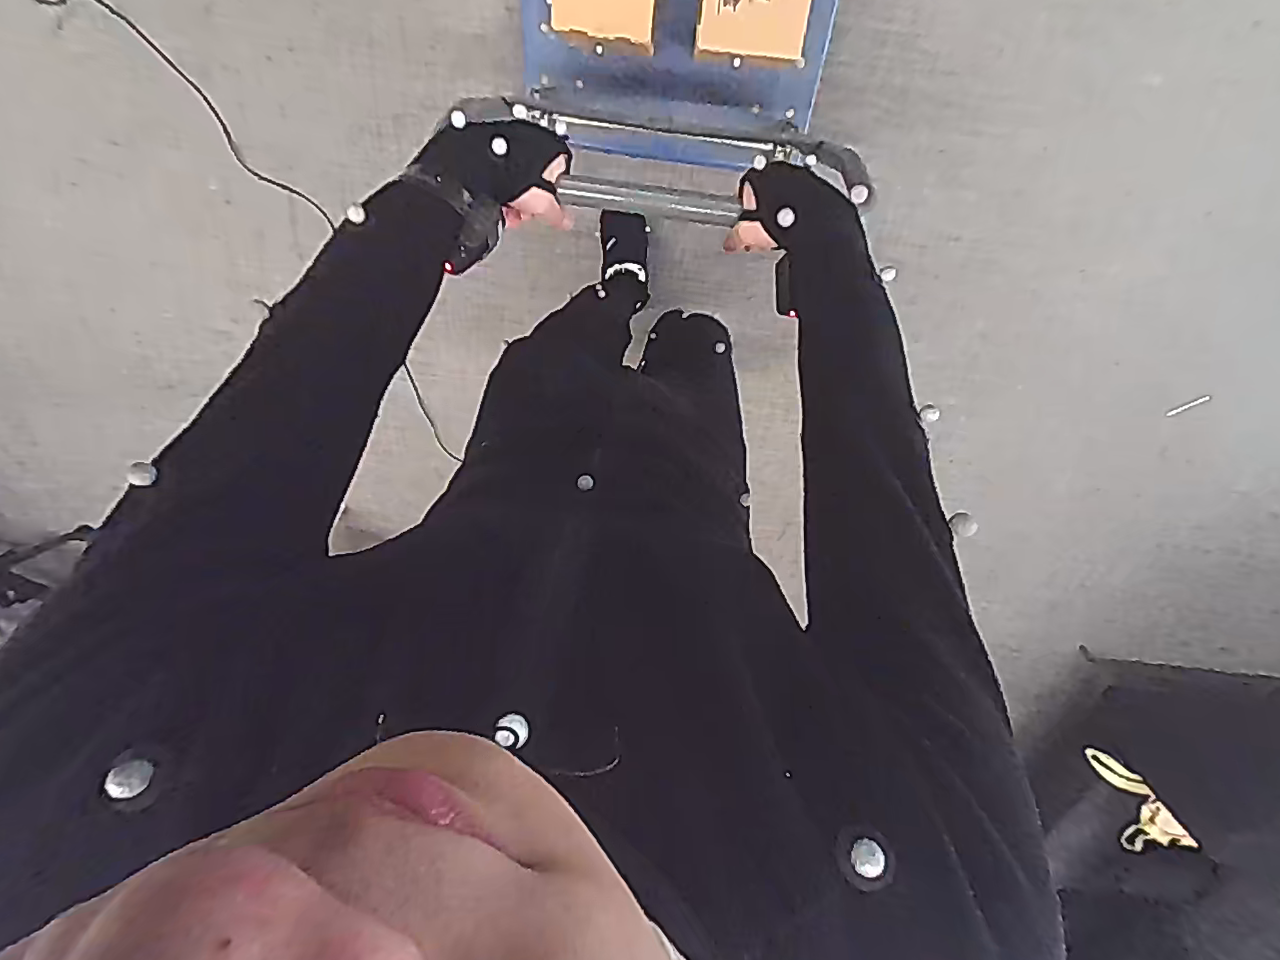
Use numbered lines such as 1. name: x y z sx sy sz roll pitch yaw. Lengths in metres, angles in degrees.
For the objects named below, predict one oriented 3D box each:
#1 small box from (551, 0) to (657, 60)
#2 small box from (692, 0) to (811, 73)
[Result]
1. small box: -0.053 -0.841 0.915 0.168 0.176 0.179 7 123 -3
2. small box: 0.187 -0.809 0.920 0.179 0.176 0.168 6 123 -2
